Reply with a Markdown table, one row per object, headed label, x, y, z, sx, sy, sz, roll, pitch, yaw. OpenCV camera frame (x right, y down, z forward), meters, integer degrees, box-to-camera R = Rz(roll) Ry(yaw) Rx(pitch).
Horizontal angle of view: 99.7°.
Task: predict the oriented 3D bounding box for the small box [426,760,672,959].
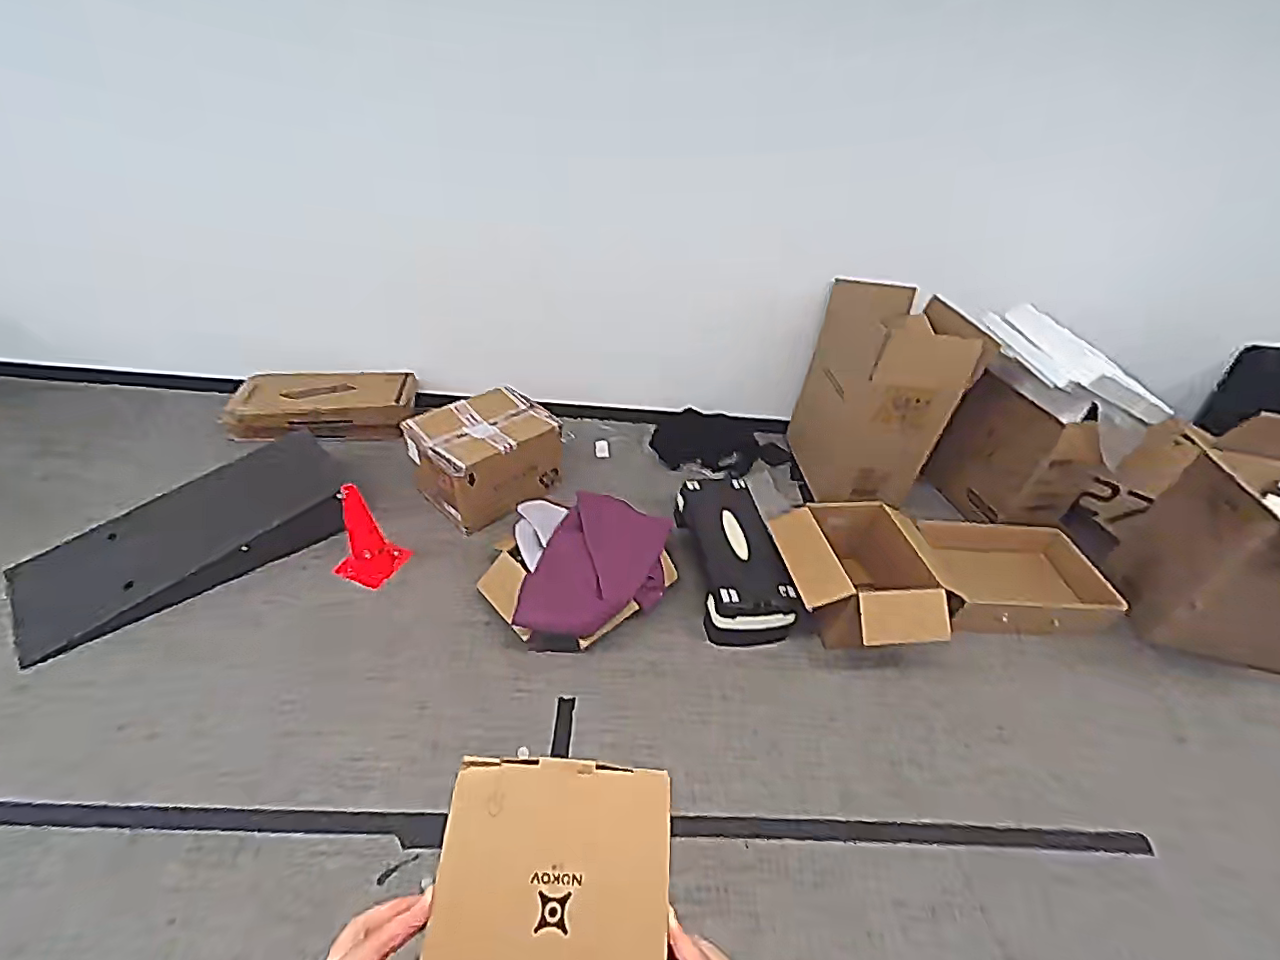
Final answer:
| label | x | y | z | sx | sy | sz | roll | pitch | yaw |
| --- | --- | --- | --- | --- | --- | --- | --- | --- | --- |
| small box | -0.073 | 0.339 | 0.442 | 0.168 | 0.176 | 0.179 | 7 | 58 | -7 |
